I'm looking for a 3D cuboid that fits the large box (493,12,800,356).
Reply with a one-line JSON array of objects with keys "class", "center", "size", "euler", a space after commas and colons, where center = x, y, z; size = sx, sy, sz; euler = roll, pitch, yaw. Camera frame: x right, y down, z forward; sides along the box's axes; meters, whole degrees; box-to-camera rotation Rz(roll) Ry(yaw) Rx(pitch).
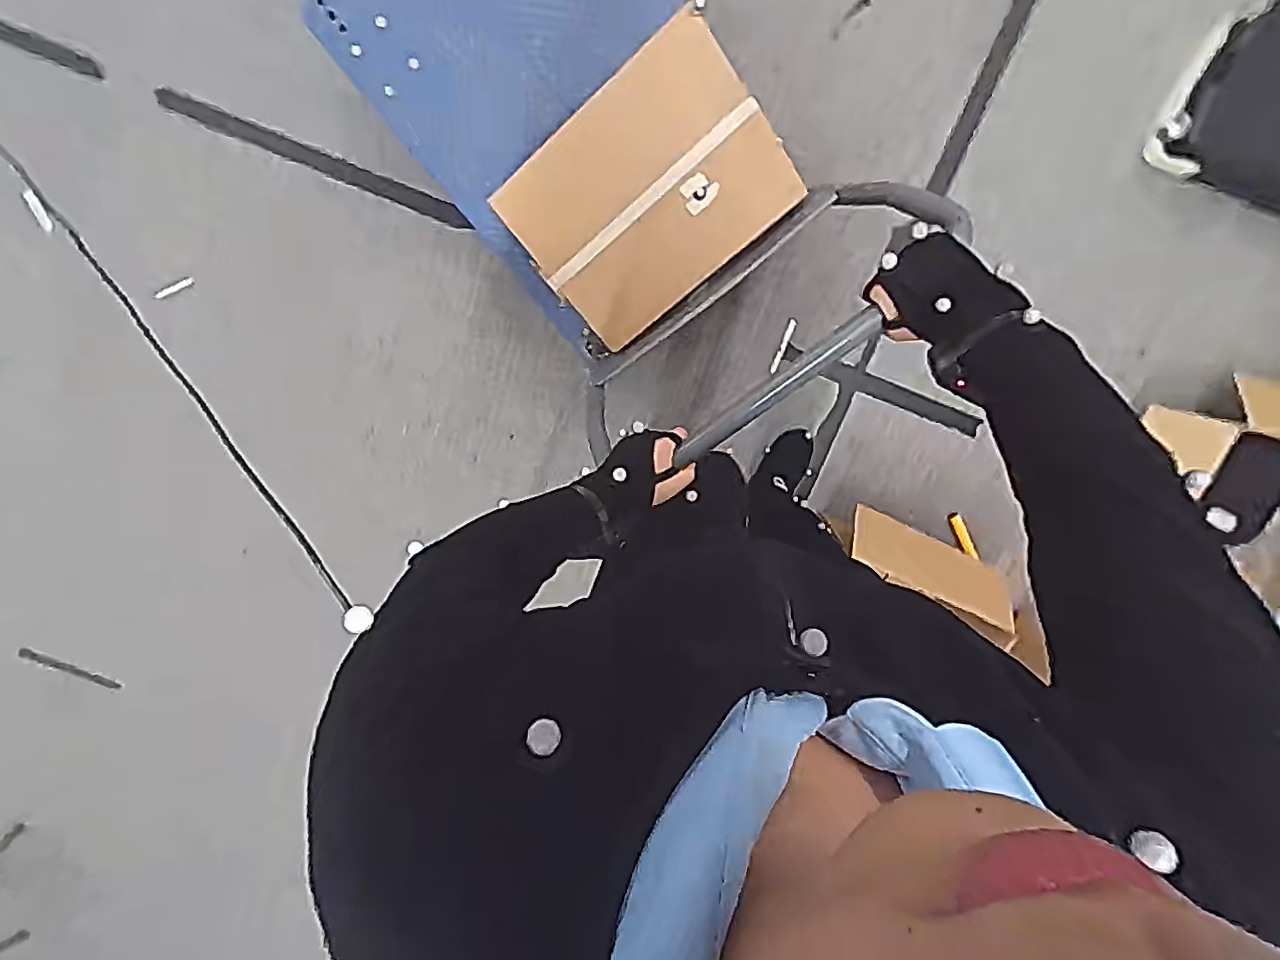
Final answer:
[{"class": "large box", "center": [0.006, -0.495, 0.992], "size": [0.408, 0.320, 0.320], "euler": [-37, 110, 13]}]
